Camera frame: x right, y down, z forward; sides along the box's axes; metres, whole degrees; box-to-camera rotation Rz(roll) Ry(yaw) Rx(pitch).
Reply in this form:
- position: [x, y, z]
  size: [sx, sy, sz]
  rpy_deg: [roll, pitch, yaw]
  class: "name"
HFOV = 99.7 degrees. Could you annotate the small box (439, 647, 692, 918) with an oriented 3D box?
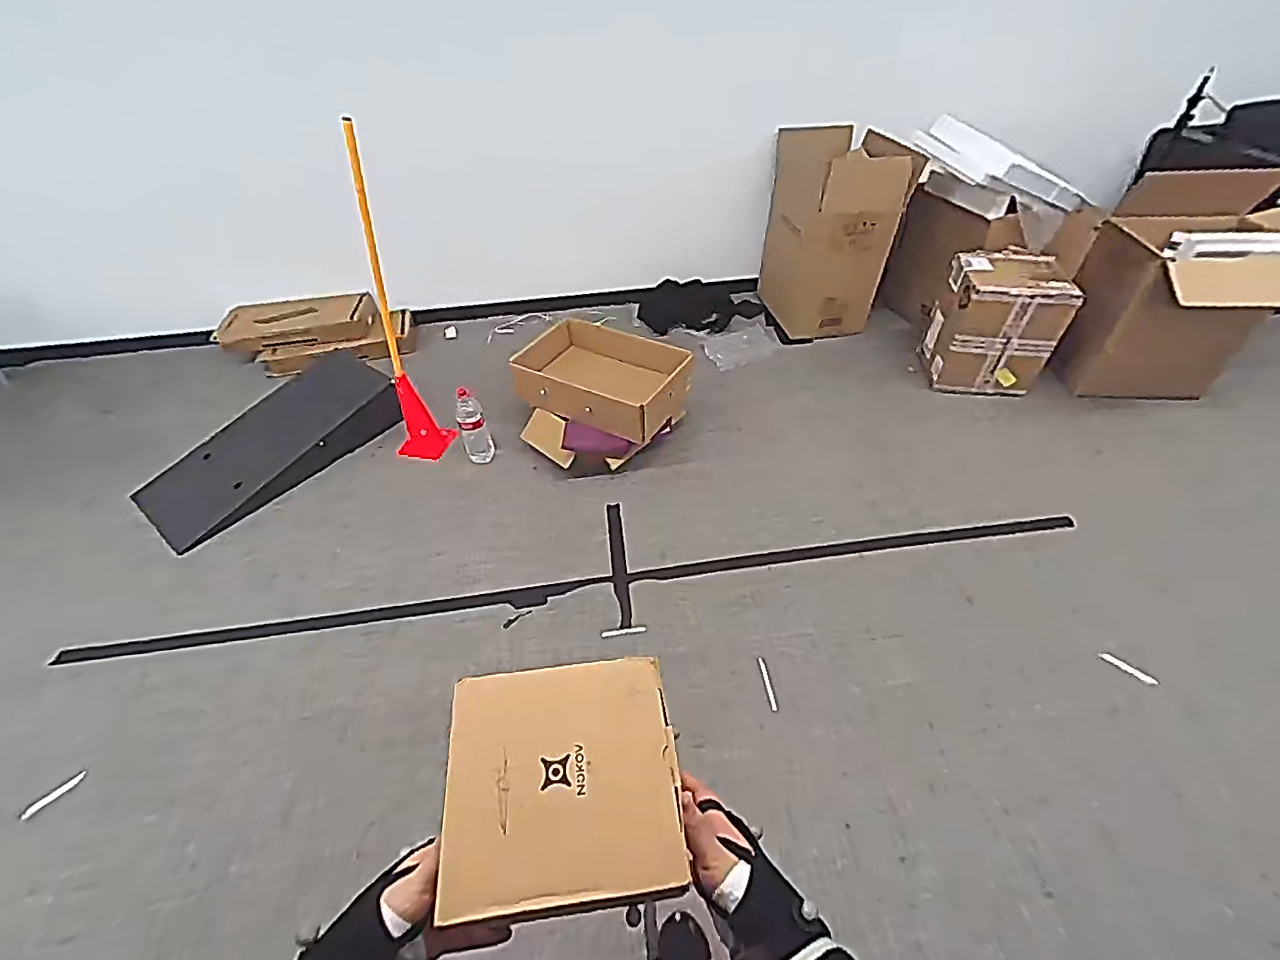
- position: [-0.058, 0.270, 0.480]
  size: [0.179, 0.176, 0.168]
  rpy_deg: [-8, 49, -4]
  class: "small box"
